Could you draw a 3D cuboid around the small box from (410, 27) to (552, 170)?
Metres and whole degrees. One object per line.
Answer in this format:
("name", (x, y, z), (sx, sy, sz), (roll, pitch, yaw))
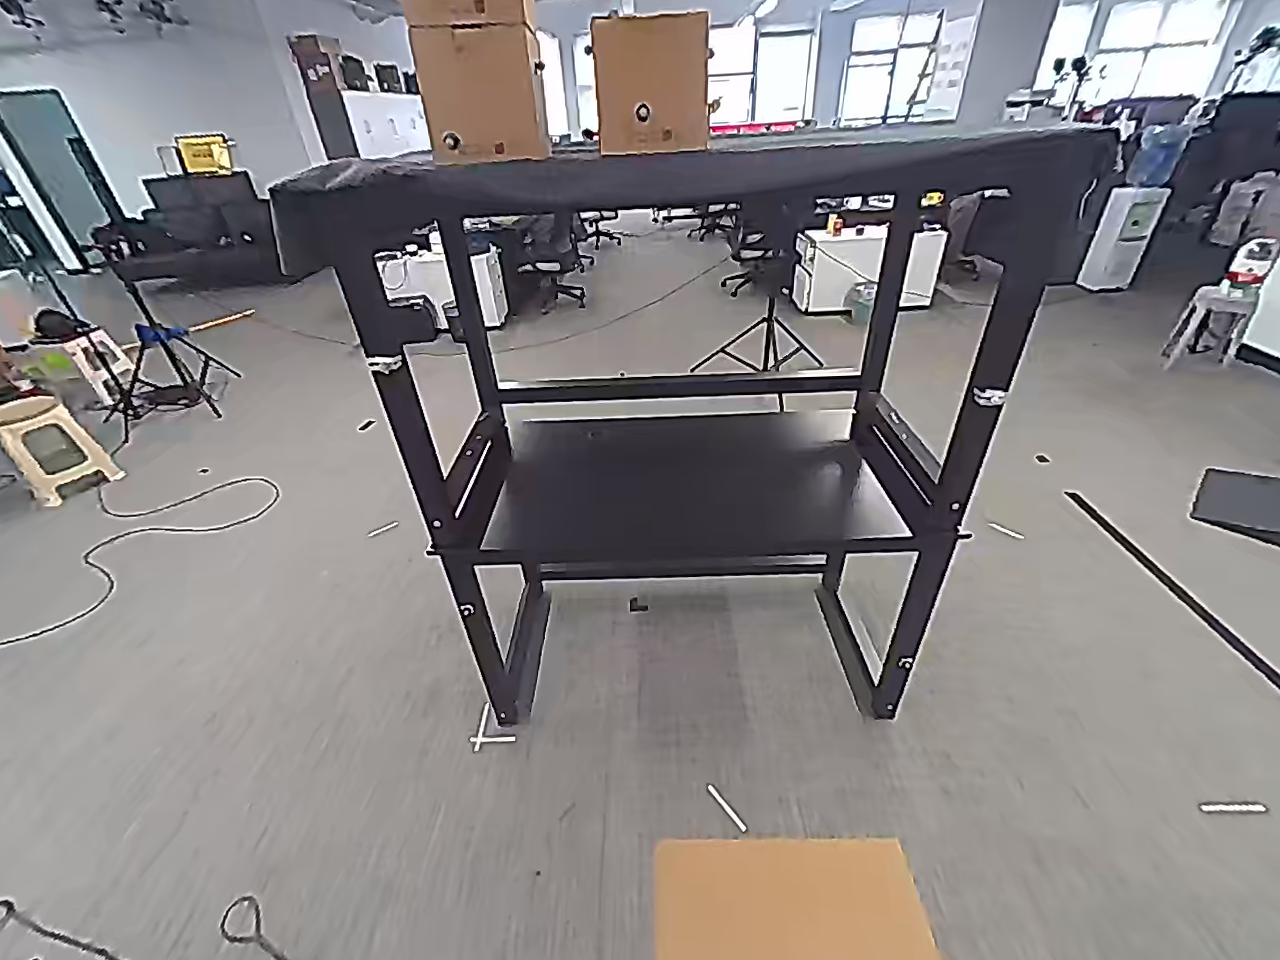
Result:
("small box", (-0.237, -0.595, 0.860), (0.168, 0.176, 0.179), (-3, 32, -1))

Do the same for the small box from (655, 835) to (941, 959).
("small box", (0.093, 0.356, 0.341), (0.168, 0.176, 0.179), (-1, 36, 1))

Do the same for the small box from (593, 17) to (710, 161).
("small box", (0.019, -0.607, 0.857), (0.168, 0.176, 0.179), (-3, 32, 2))
